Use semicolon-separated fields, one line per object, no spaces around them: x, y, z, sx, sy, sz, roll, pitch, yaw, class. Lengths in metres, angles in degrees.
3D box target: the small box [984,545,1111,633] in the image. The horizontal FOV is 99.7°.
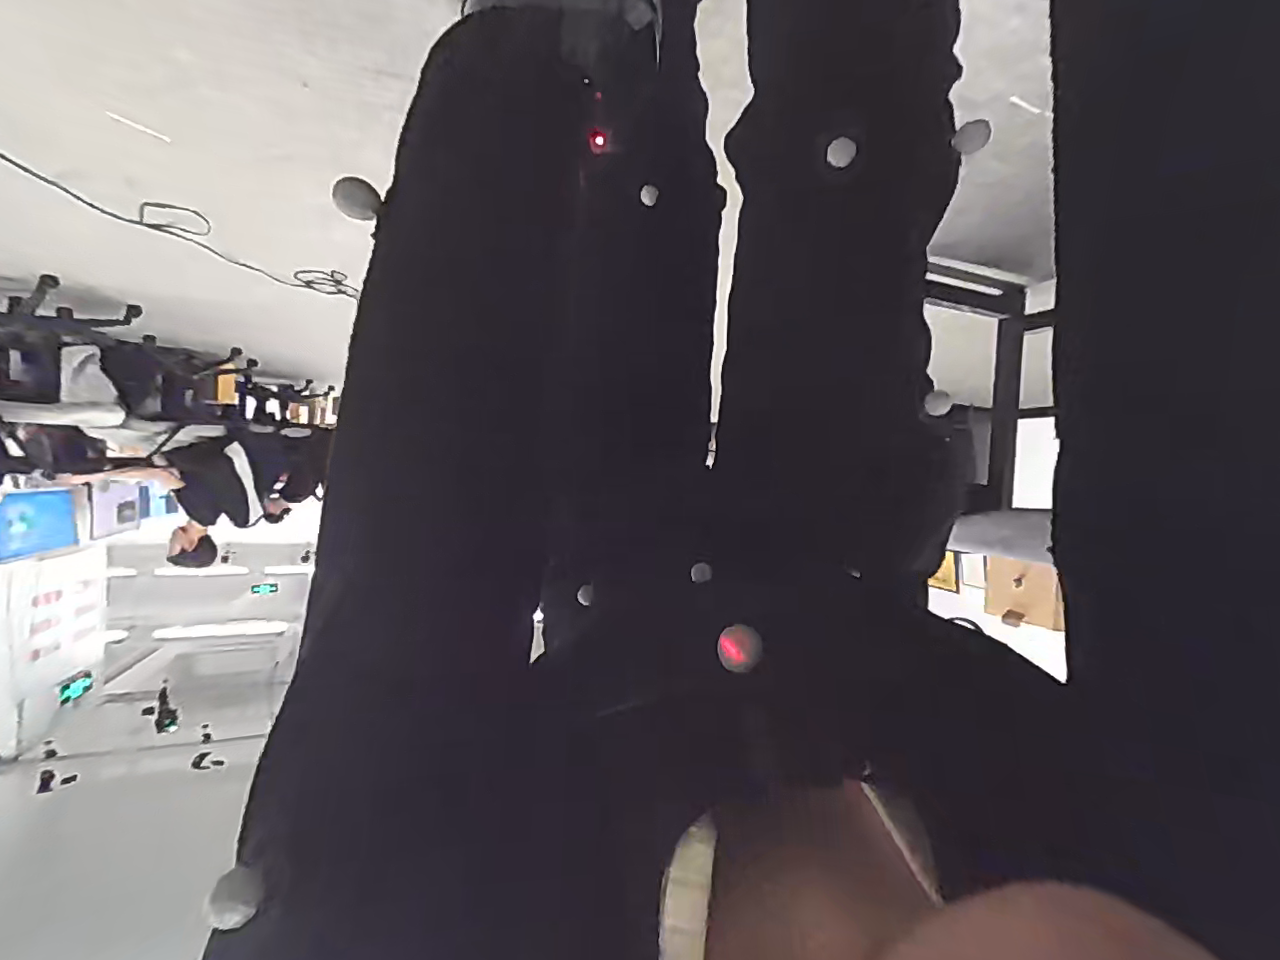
0.924;0.240;1.232;0.179;0.176;0.168;3;-179;-18;small box
